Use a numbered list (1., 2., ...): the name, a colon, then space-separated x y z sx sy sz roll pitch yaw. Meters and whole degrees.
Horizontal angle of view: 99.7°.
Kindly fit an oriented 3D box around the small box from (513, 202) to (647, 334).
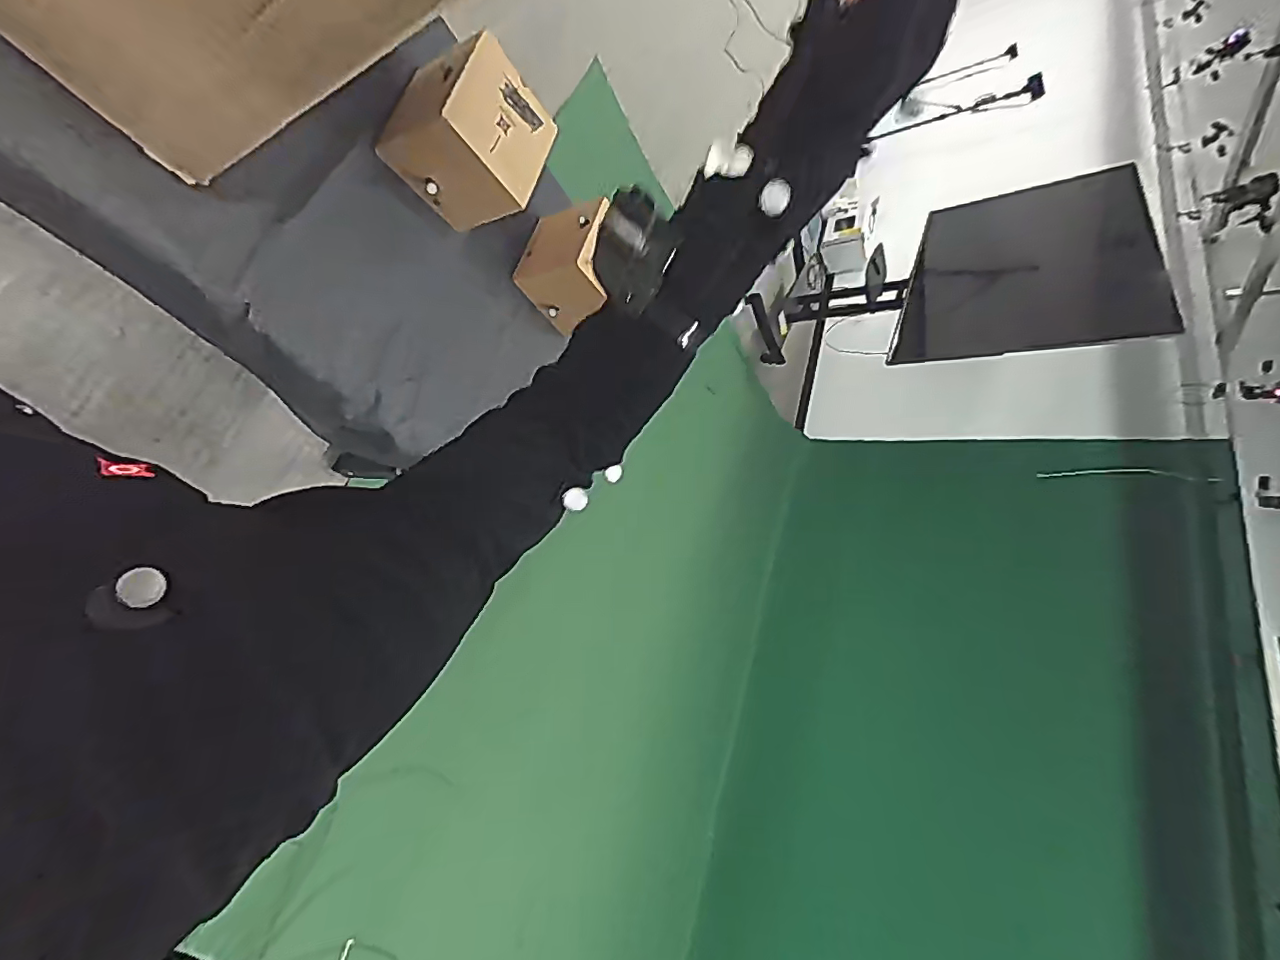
1. small box: -0.117 -0.409 1.075 0.179 0.176 0.168 43 57 -48
